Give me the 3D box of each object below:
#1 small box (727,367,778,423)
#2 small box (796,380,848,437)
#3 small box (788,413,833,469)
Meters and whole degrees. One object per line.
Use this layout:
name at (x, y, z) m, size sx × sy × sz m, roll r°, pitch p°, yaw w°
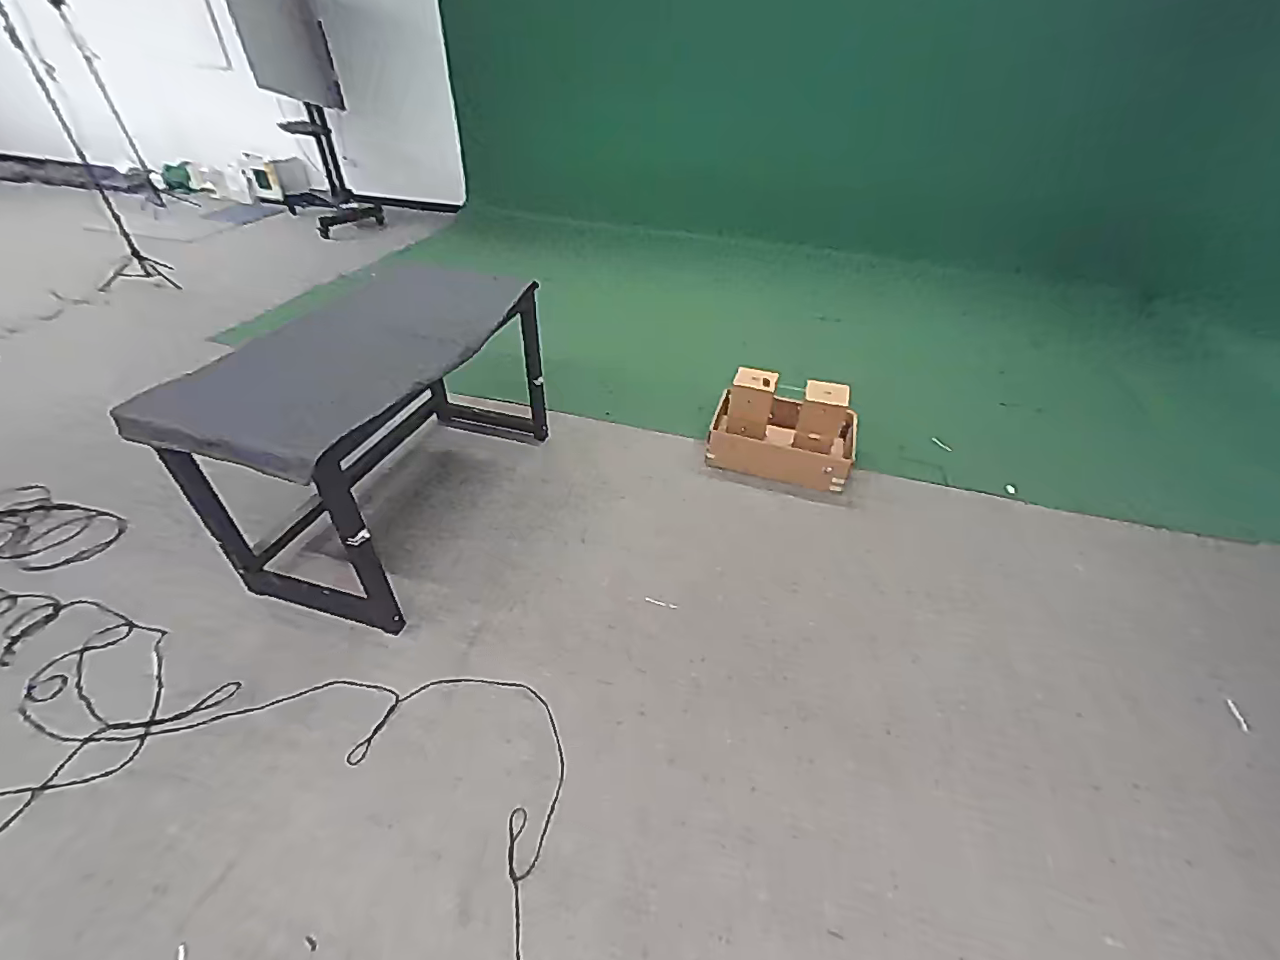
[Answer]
small box at (0.489, -0.369, 2.360) m, size 0.179 × 0.176 × 0.168 m, roll 14°, pitch 41°, yaw 13°
small box at (0.773, -0.301, 2.302) m, size 0.179 × 0.176 × 0.168 m, roll 13°, pitch 43°, yaw 11°
small box at (0.761, -0.173, 2.403) m, size 0.168 × 0.176 × 0.179 m, roll 14°, pitch 43°, yaw 14°
